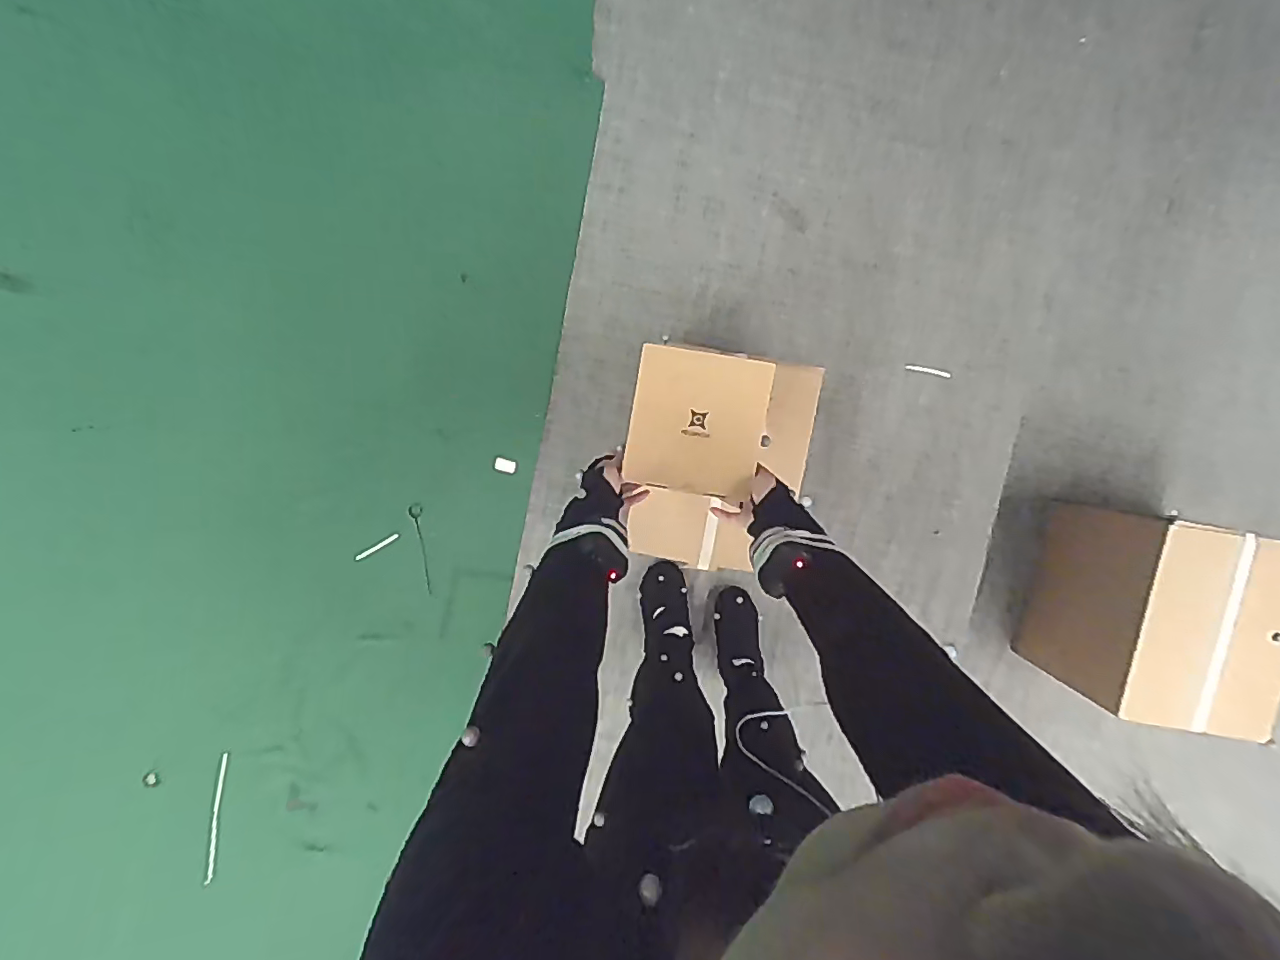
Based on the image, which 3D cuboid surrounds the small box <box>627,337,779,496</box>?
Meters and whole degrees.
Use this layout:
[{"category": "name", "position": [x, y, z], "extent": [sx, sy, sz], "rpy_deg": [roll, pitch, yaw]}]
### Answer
[{"category": "small box", "position": [0.080, -0.087, 0.750], "extent": [0.168, 0.176, 0.179], "rpy_deg": [10, 98, 2]}]

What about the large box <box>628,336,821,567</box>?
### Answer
[{"category": "large box", "position": [0.160, -0.062, 1.162], "extent": [0.320, 0.320, 0.408], "rpy_deg": [9, 95, 0]}]
